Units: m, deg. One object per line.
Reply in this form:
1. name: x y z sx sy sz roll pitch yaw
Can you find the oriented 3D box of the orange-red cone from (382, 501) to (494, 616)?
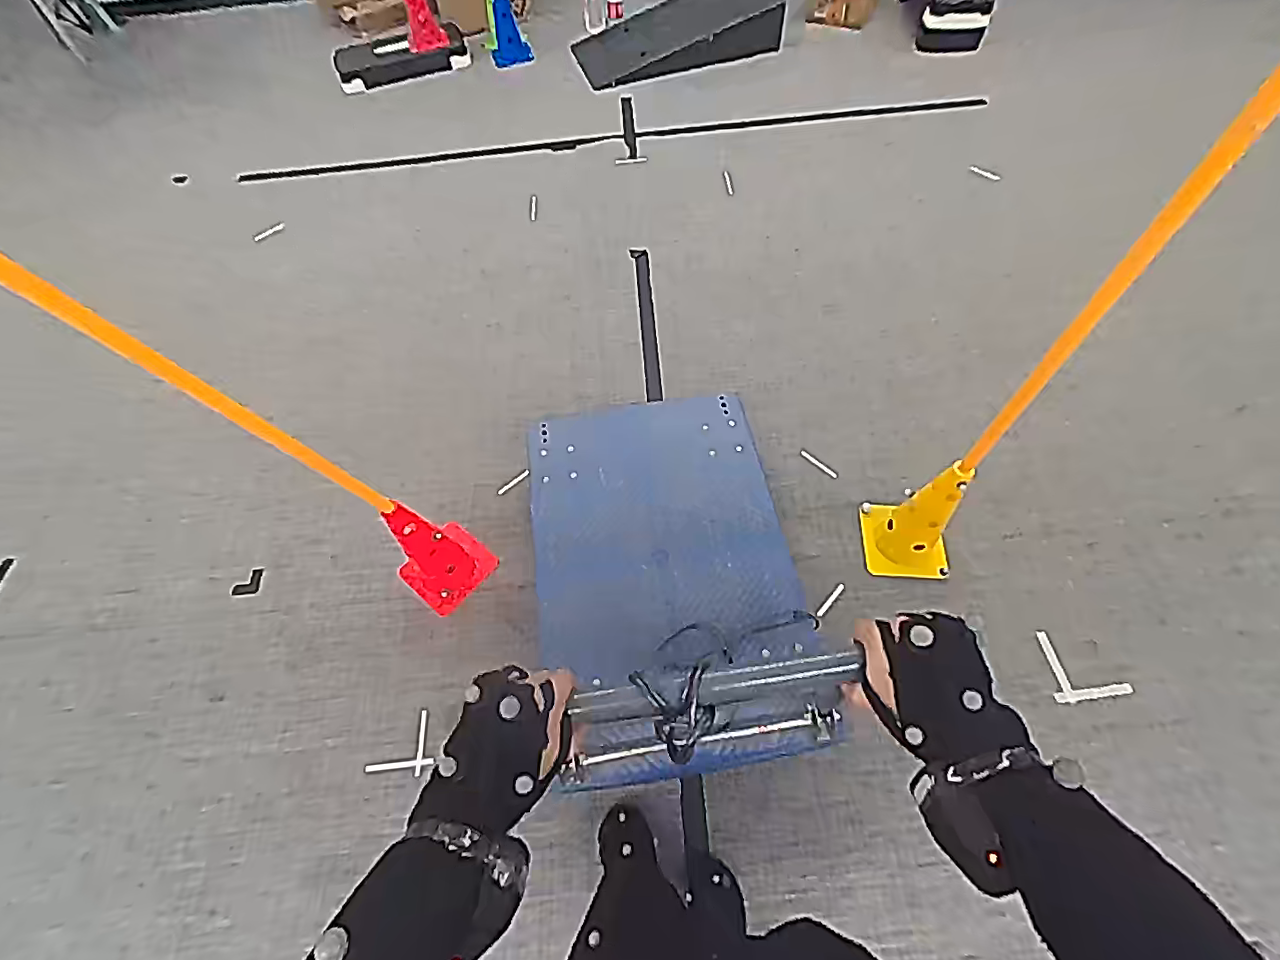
1. orange-red cone: -0.513 0.147 1.272 0.198 0.360 0.199 36 67 20
